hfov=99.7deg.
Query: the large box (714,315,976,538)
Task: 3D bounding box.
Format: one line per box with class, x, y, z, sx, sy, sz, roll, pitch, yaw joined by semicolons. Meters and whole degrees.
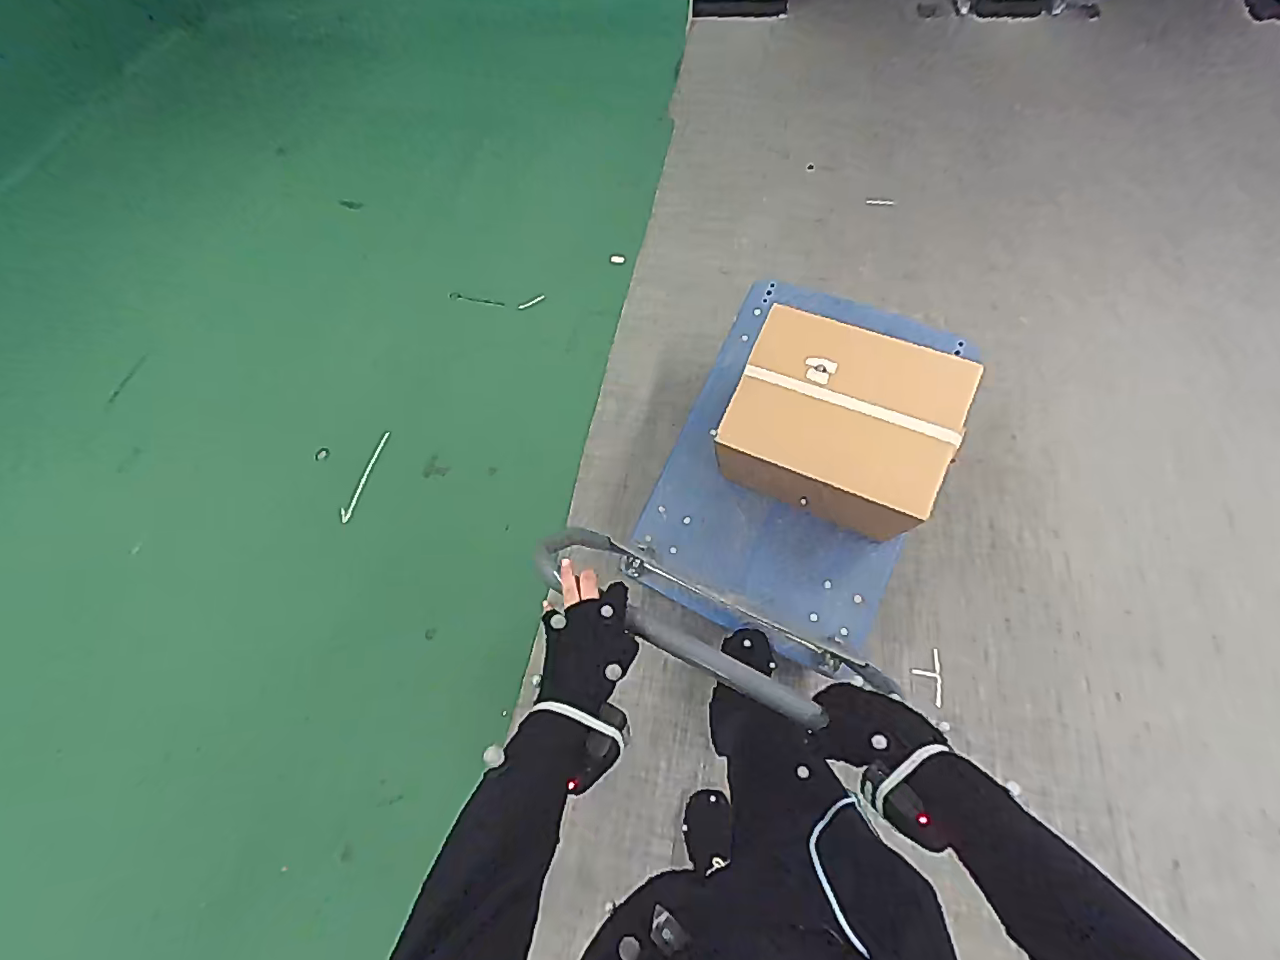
large box;0.416;-0.100;1.167;0.408;0.320;0.320;22;82;18
